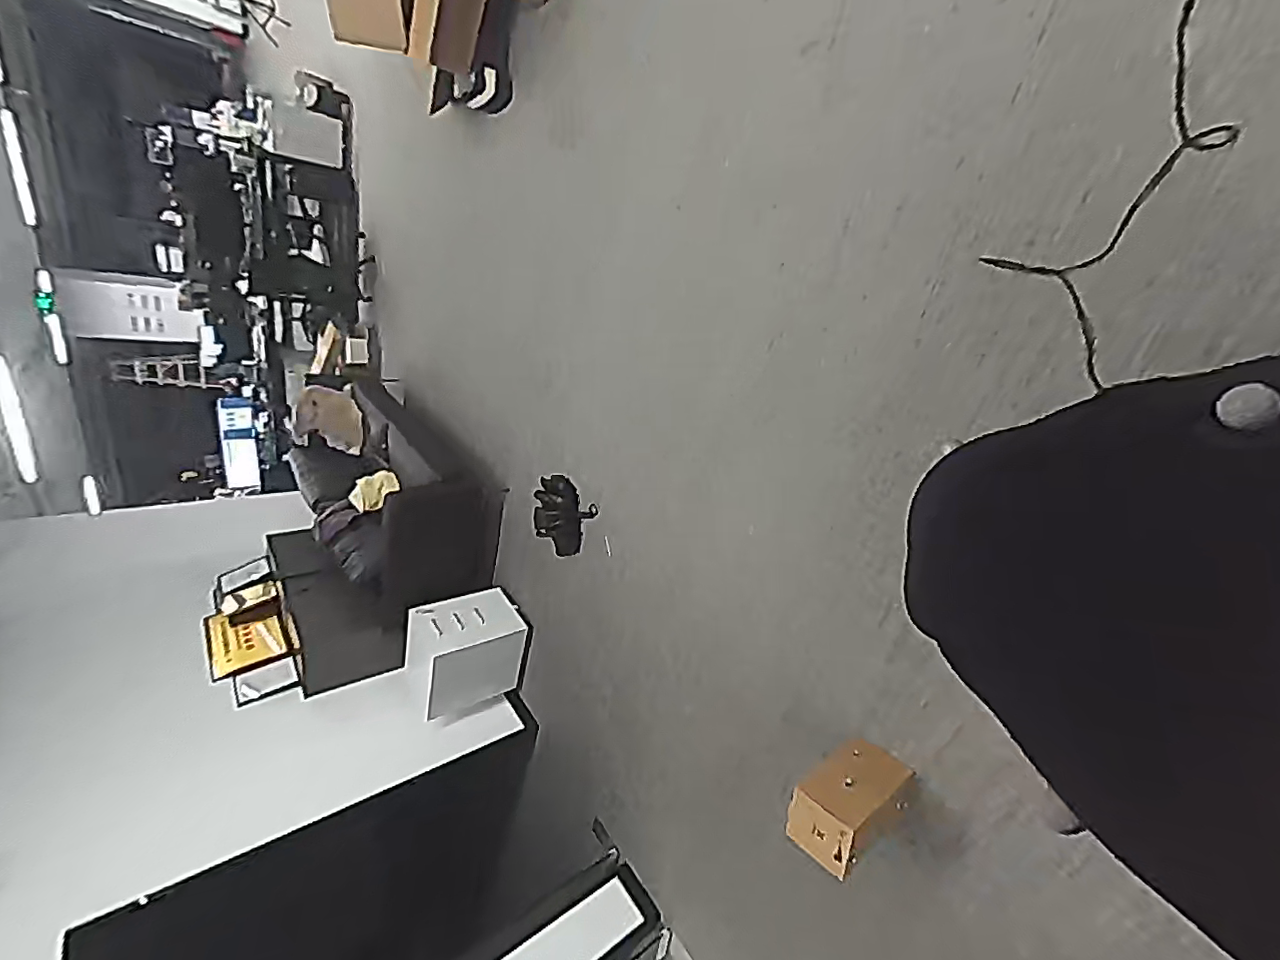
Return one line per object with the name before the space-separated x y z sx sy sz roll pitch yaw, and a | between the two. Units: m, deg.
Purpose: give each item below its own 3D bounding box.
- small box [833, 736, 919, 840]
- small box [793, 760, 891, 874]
small box | 0.669 0.872 1.559 0.179 0.176 0.168 21 113 46
small box | 0.544 0.893 1.459 0.179 0.176 0.168 18 110 47
